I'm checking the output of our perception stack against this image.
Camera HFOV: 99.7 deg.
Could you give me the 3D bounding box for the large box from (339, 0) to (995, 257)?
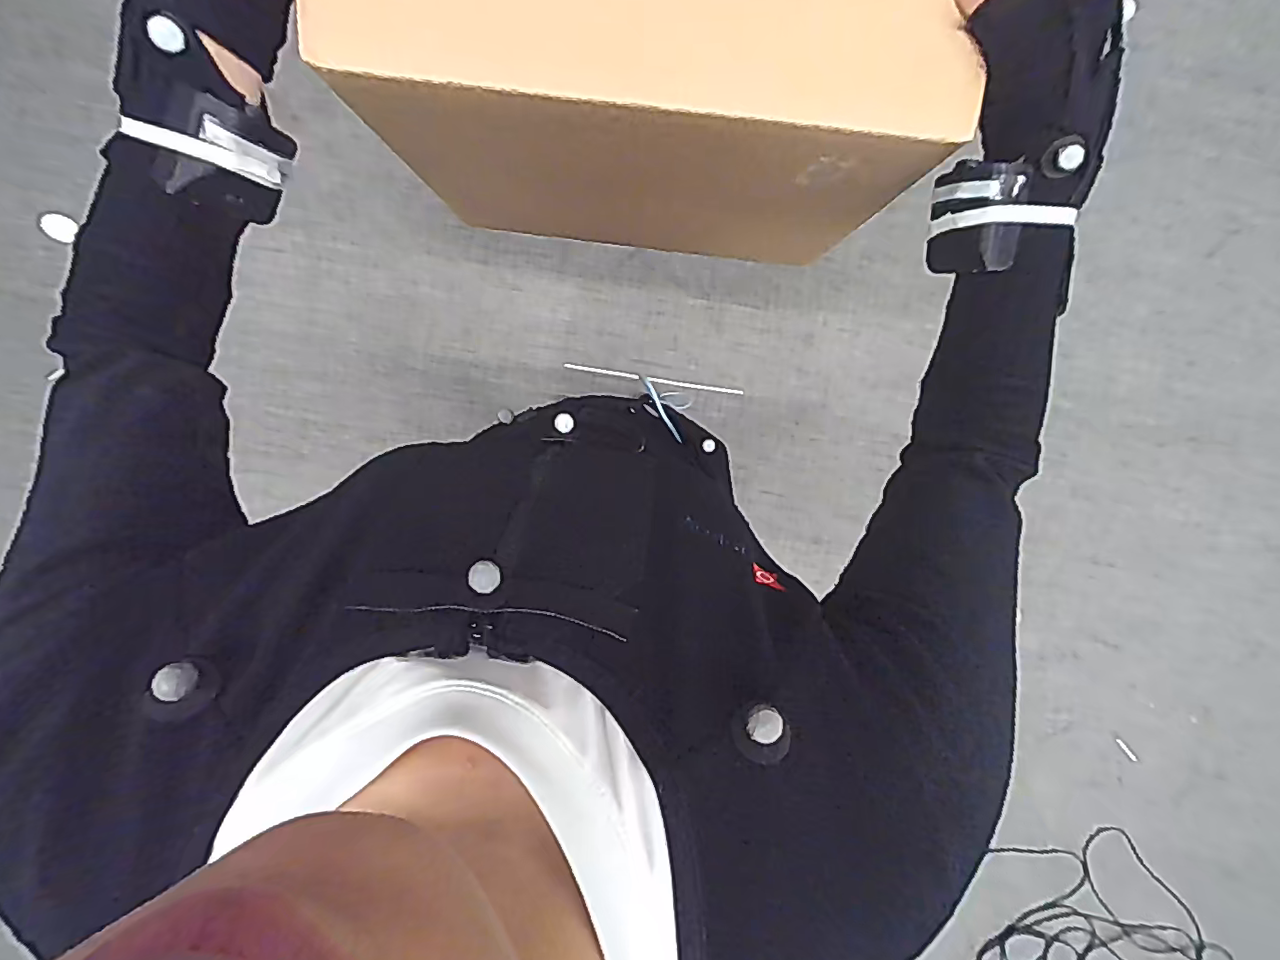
[{"bbox_3d":[0.023,-0.404,0.461,0.408,0.320,0.320,6,99,-2],"label":"large box"}]
